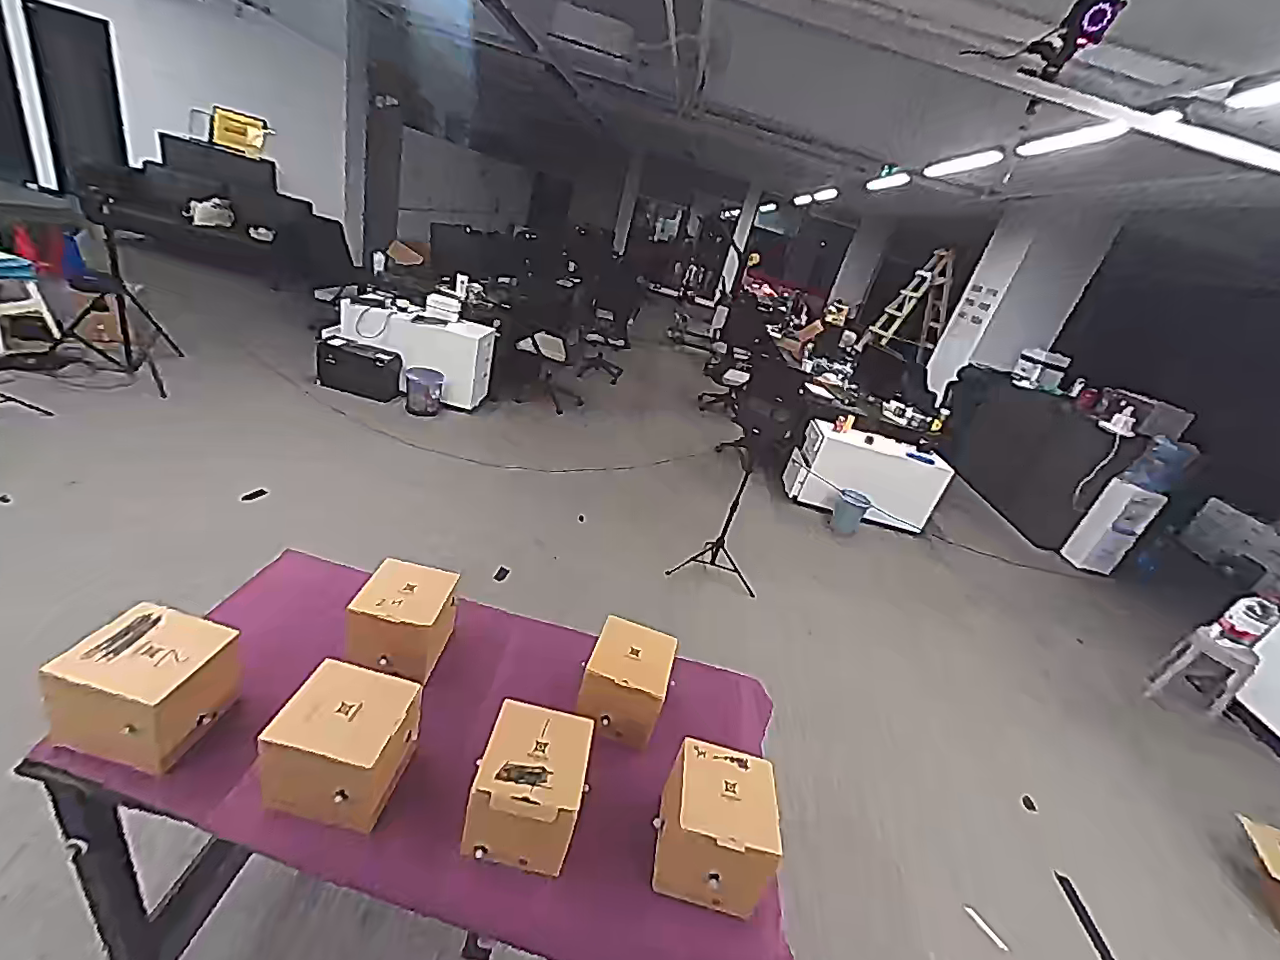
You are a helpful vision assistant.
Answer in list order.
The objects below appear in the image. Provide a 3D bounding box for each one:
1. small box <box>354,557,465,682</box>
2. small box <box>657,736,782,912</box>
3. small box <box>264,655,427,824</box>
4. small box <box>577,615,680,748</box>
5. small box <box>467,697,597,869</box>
[{"bbox_3d":[-0.495,0.298,1.159,0.168,0.176,0.179,14,26,-3],"label":"small box"},{"bbox_3d":[0.132,0.587,0.927,0.168,0.176,0.179,16,24,2],"label":"small box"},{"bbox_3d":[-0.480,0.430,0.896,0.179,0.176,0.168,17,25,0],"label":"small box"},{"bbox_3d":[-0.025,0.431,1.164,0.168,0.176,0.179,18,27,5],"label":"small box"},{"bbox_3d":[-0.181,0.508,0.911,0.168,0.176,0.179,15,25,-2],"label":"small box"}]
